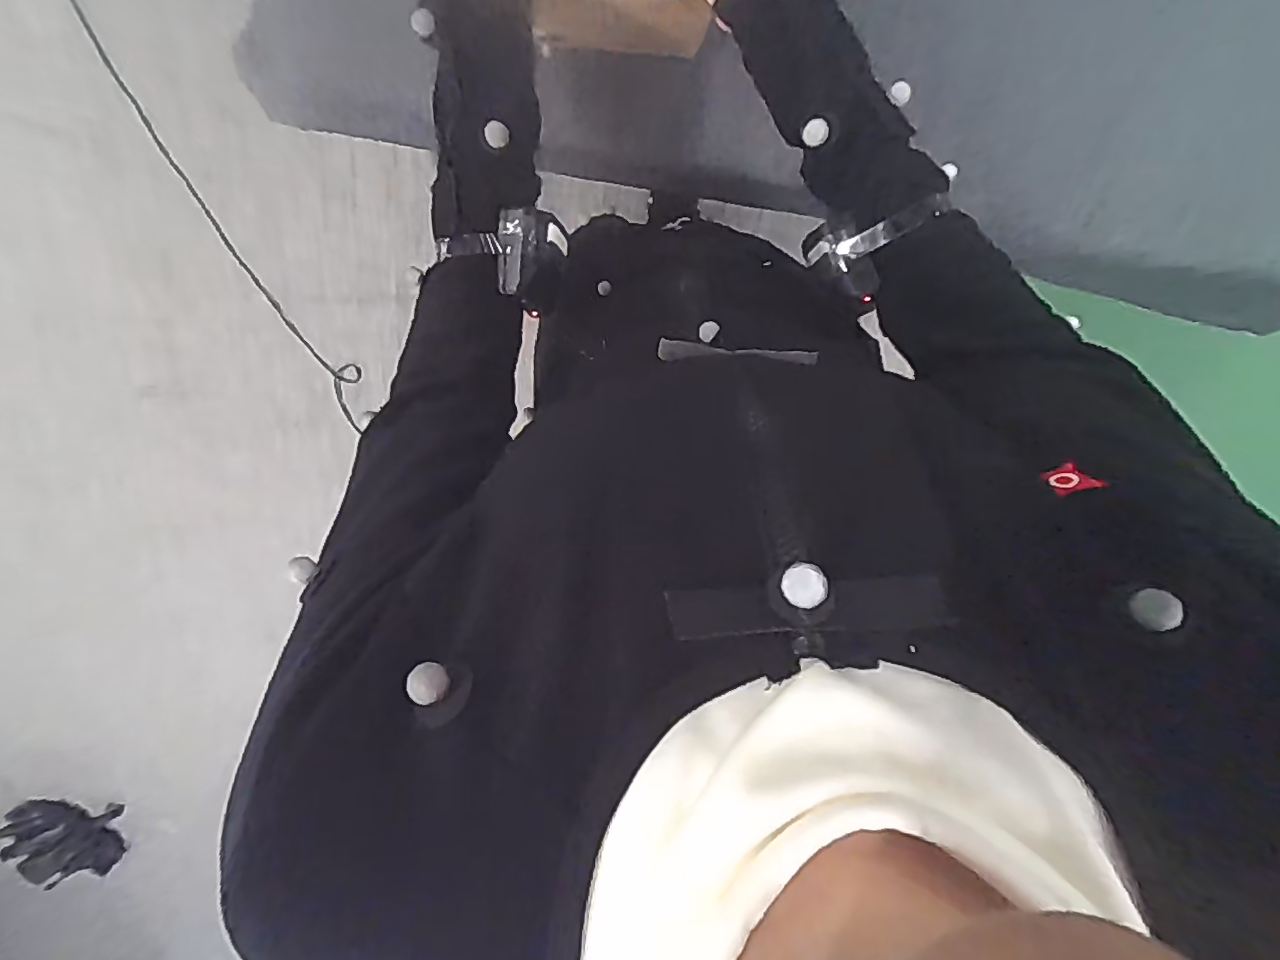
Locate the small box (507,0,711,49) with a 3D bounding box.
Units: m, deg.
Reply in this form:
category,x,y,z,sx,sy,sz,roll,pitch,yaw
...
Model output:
category,x,y,z,sx,sy,sz,roll,pitch,yaw
small box,-0.020,-0.444,0.391,0.168,0.176,0.179,3,116,-4
